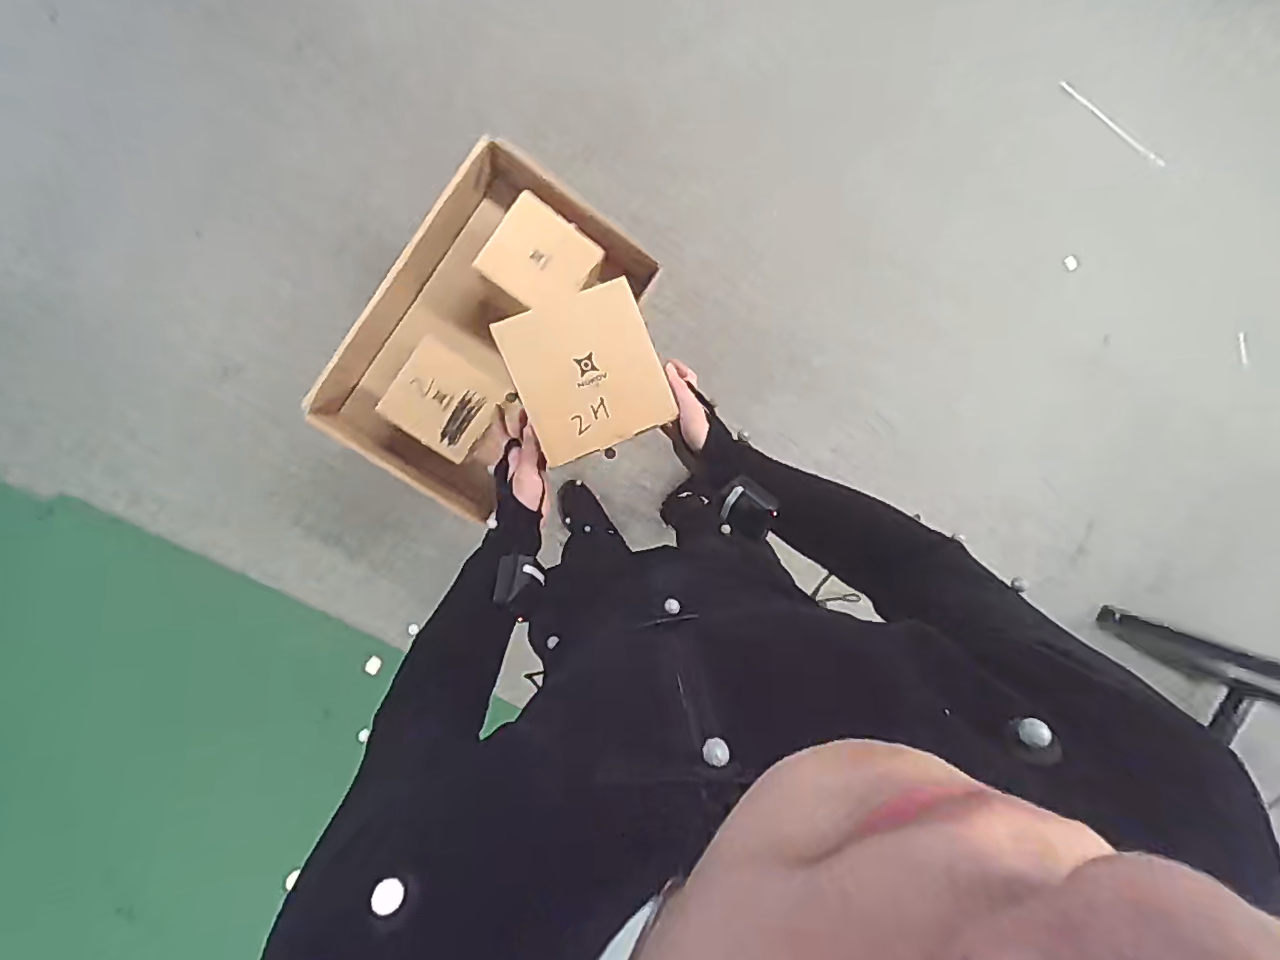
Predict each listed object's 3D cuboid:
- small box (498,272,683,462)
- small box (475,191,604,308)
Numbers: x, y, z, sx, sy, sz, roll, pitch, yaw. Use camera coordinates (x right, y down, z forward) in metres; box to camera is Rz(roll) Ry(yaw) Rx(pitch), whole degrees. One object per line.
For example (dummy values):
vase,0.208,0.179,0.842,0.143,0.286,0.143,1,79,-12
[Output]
small box,-0.066,-0.129,0.684,0.168,0.176,0.179,-21,94,-7
small box,-0.191,-0.405,1.046,0.179,0.176,0.168,34,90,-10
